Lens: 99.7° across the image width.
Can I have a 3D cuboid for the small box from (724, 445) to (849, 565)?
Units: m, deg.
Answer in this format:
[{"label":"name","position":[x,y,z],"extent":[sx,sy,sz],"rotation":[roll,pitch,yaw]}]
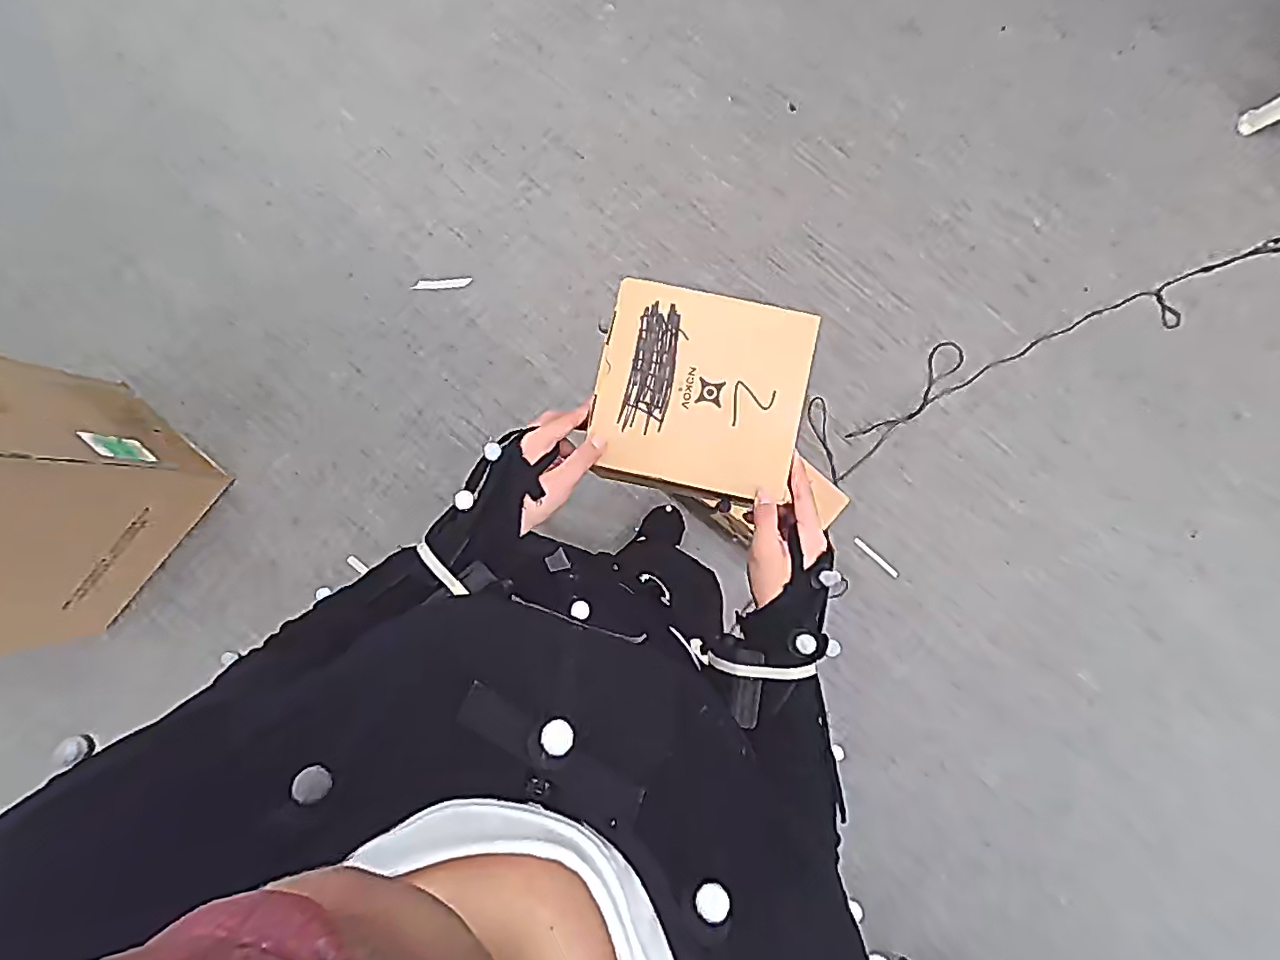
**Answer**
[{"label":"small box","position":[0.290,0.053,1.118],"extent":[0.168,0.176,0.179],"rotation":[42,88,3]}]
